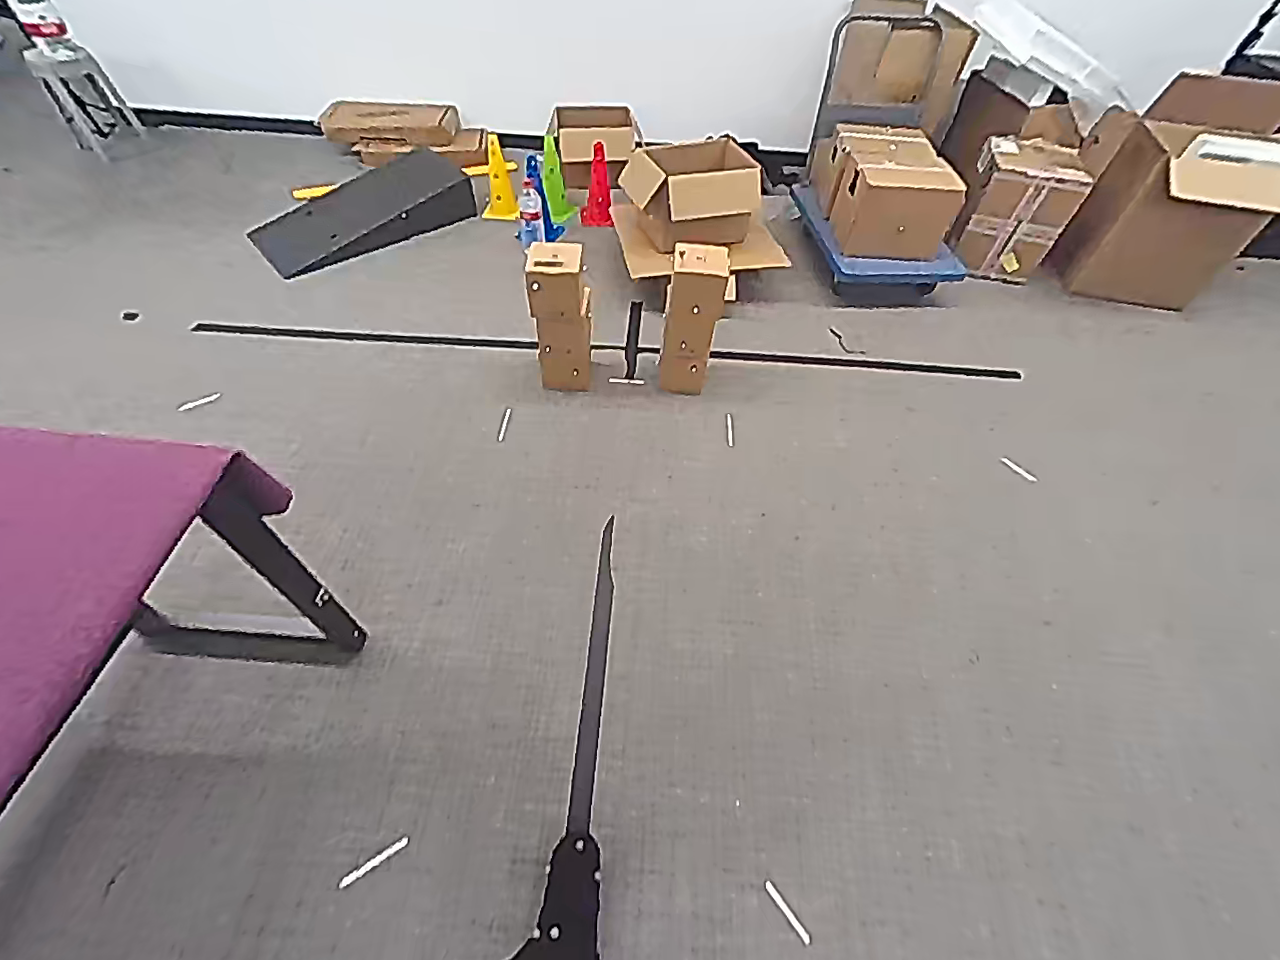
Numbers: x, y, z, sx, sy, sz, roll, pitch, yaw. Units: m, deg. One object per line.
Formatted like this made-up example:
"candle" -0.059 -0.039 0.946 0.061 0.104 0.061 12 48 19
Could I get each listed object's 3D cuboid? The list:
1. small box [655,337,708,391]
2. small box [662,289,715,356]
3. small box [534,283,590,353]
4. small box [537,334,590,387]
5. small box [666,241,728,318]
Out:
"small box" 0.157 -0.455 2.033 0.179 0.176 0.168 8 52 1
"small box" 0.167 -0.565 1.913 0.168 0.176 0.179 4 53 -1
"small box" -0.266 -0.560 1.881 0.168 0.176 0.179 4 51 0
"small box" -0.279 -0.460 2.011 0.179 0.176 0.168 1 51 -1
"small box" 0.186 -0.656 1.778 0.179 0.176 0.168 6 53 -1
